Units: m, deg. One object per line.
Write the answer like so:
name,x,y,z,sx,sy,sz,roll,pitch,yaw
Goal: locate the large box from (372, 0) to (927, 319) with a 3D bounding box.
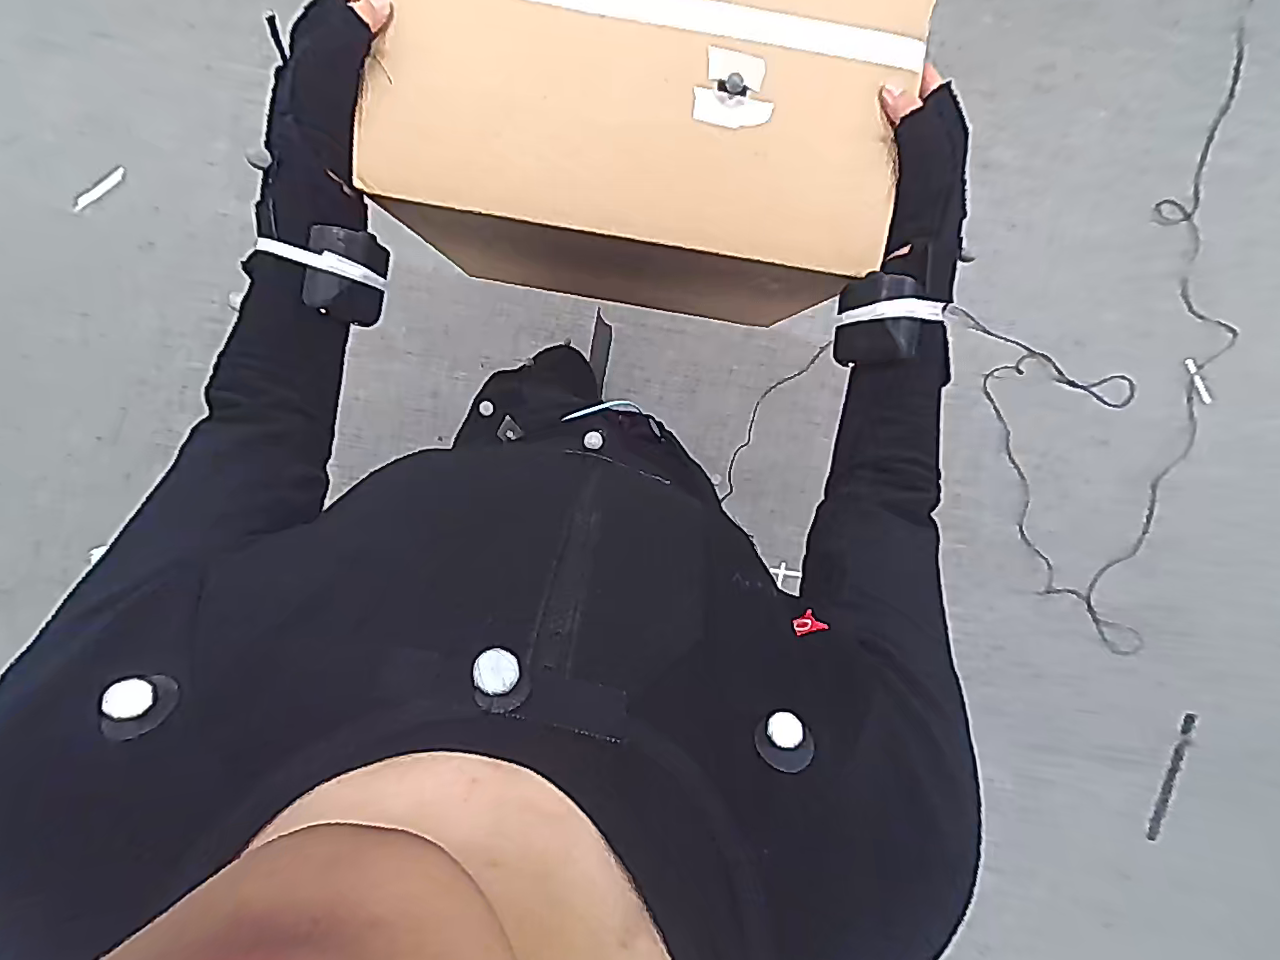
large box,0.003,-0.365,0.546,0.408,0.320,0.320,8,100,-4
